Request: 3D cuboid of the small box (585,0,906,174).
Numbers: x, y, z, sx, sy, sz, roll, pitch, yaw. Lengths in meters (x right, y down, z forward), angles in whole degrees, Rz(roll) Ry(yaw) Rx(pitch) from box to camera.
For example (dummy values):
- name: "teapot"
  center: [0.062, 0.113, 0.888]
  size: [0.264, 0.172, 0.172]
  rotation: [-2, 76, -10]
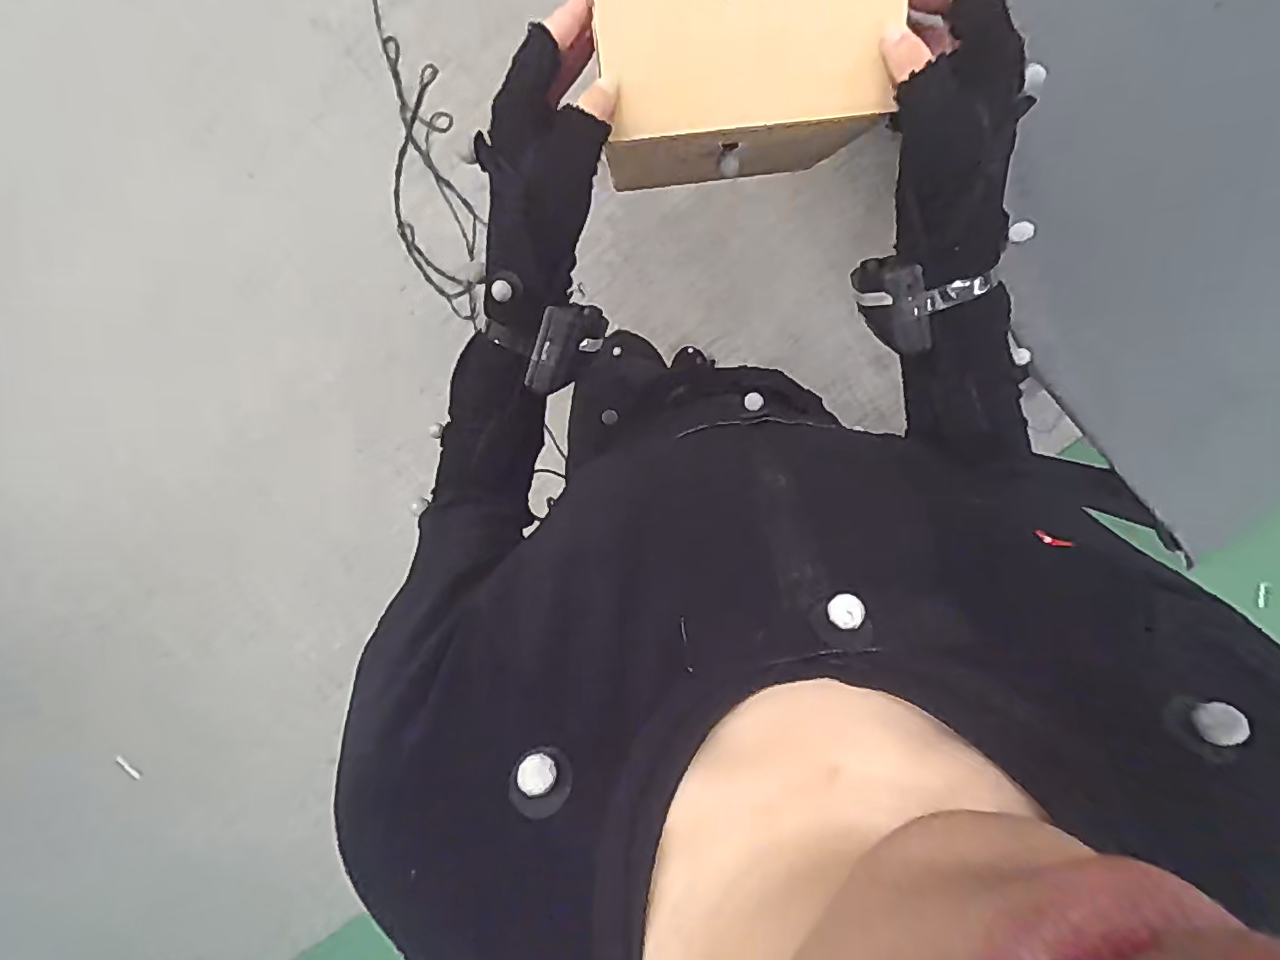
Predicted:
- name: "small box"
  center: [0.055, -0.315, 0.357]
  size: [0.179, 0.176, 0.168]
  rotation: [-5, 110, 3]
